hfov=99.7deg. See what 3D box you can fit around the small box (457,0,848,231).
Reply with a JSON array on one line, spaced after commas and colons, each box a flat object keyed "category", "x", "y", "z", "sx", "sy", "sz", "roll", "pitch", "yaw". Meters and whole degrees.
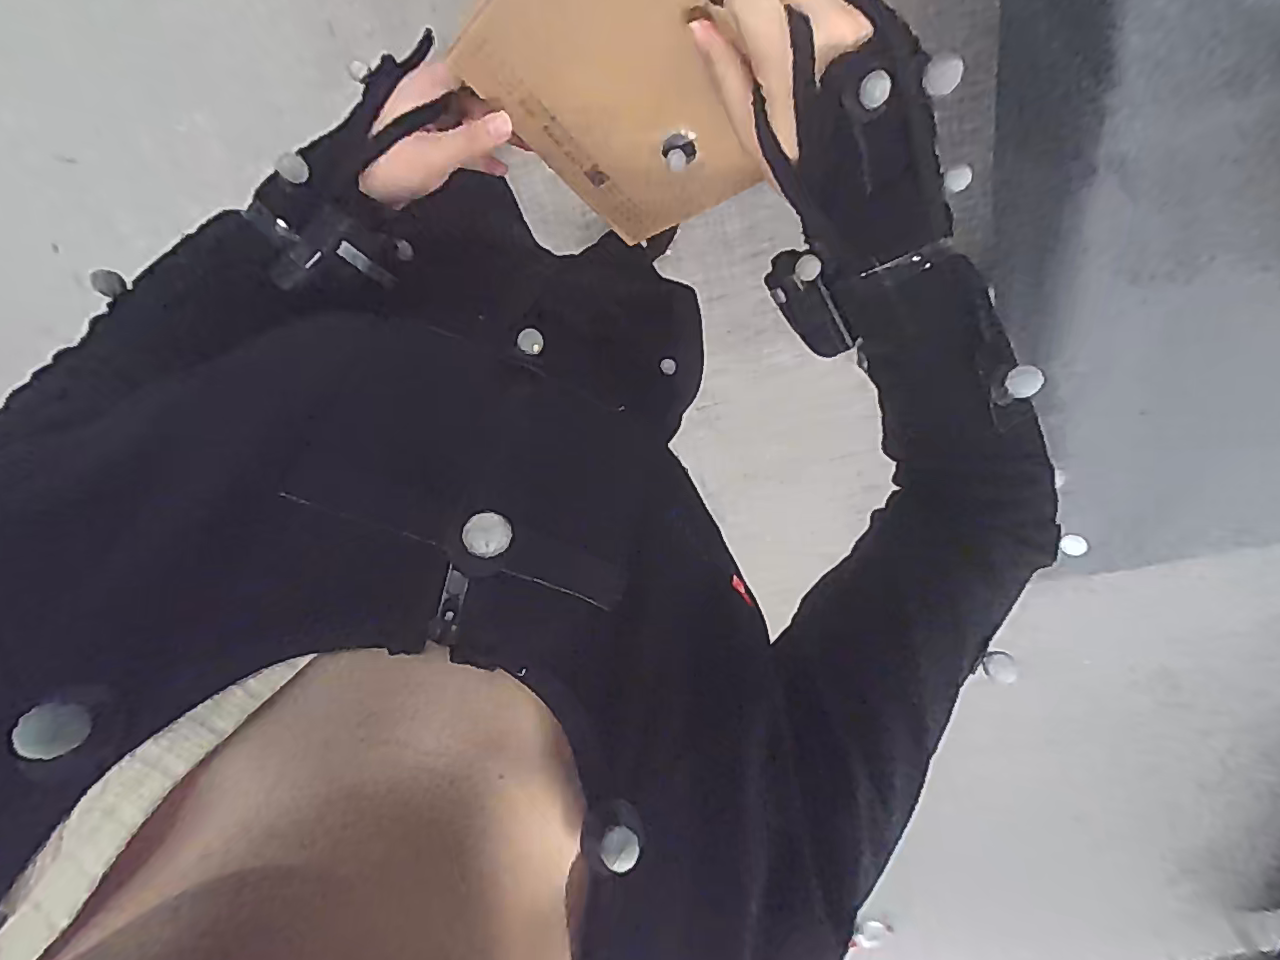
[{"category": "small box", "x": 0.011, "y": -0.299, "z": 0.343, "sx": 0.176, "sy": 0.179, "sz": 0.168, "roll": -5, "pitch": 153, "yaw": 43}]
